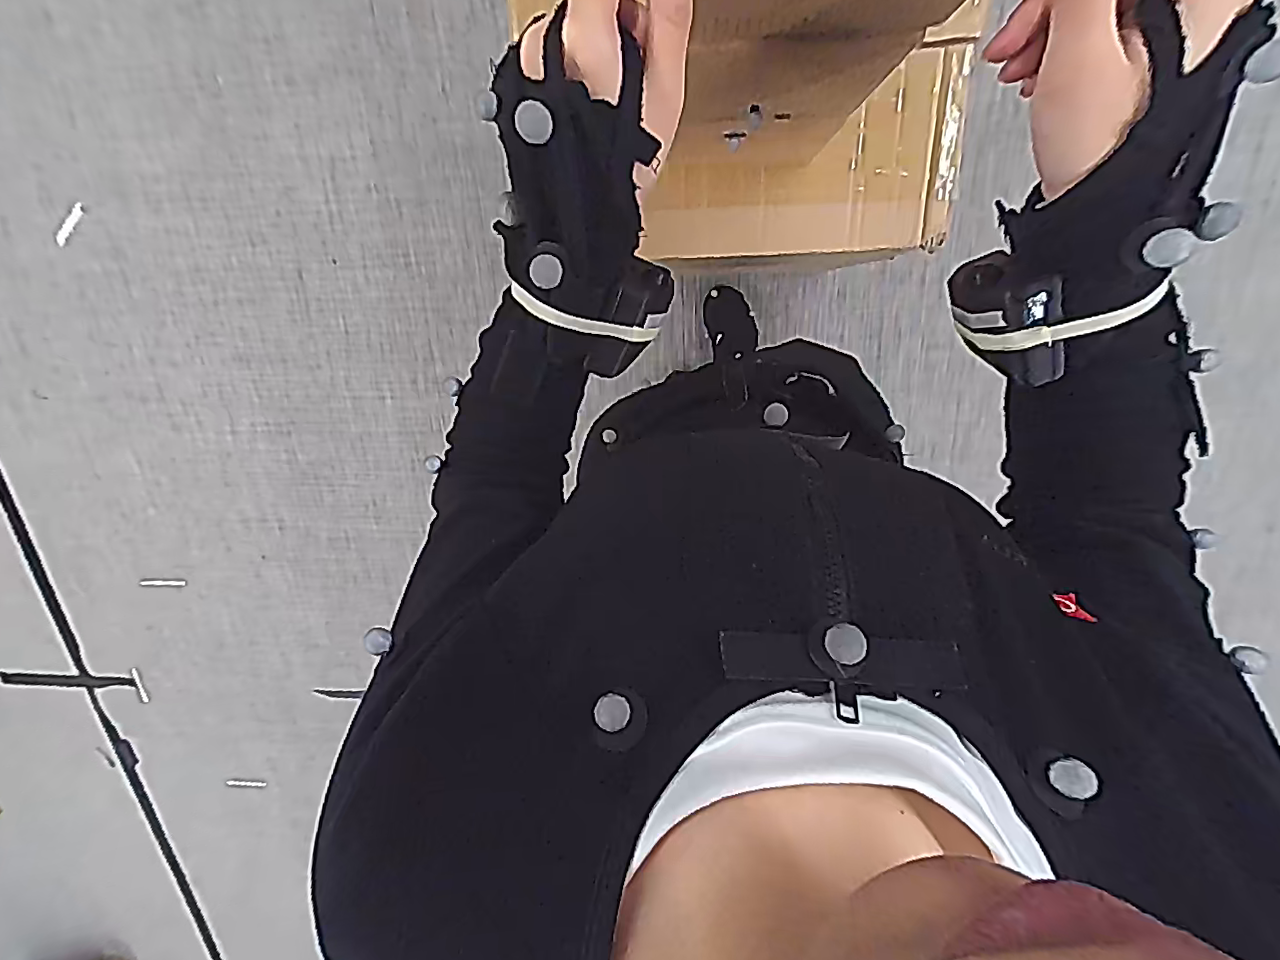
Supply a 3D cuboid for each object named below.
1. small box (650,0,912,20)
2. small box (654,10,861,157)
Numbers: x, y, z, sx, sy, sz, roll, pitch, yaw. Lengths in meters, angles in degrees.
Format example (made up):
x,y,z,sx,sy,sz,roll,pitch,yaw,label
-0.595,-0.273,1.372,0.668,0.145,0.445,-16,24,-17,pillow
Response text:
x,y,z,sx,sy,sz,roll,pitch,yaw,label
0.085,-0.326,0.219,0.179,0.176,0.168,1,109,5,small box
0.106,-0.430,0.531,0.179,0.176,0.168,1,109,4,small box
